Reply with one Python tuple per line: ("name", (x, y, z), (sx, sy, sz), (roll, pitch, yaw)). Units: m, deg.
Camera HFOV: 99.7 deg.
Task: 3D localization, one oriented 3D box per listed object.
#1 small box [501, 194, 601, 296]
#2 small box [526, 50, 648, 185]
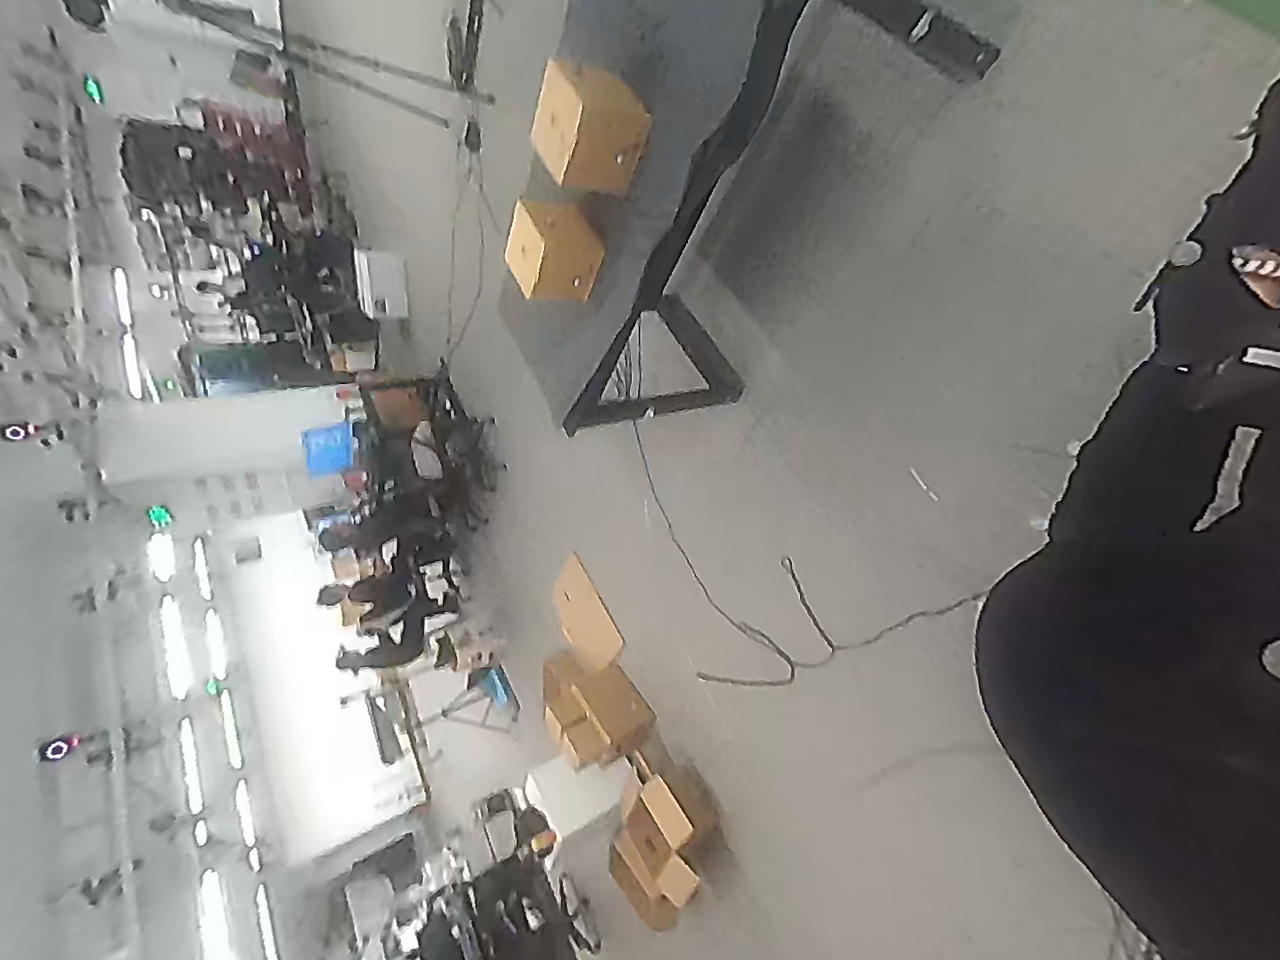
("small box", (-0.224, -0.581, 1.357), (0.179, 0.176, 0.168), (60, 142, 21))
("small box", (-0.114, -0.750, 1.138), (0.179, 0.176, 0.168), (60, 143, 21))
